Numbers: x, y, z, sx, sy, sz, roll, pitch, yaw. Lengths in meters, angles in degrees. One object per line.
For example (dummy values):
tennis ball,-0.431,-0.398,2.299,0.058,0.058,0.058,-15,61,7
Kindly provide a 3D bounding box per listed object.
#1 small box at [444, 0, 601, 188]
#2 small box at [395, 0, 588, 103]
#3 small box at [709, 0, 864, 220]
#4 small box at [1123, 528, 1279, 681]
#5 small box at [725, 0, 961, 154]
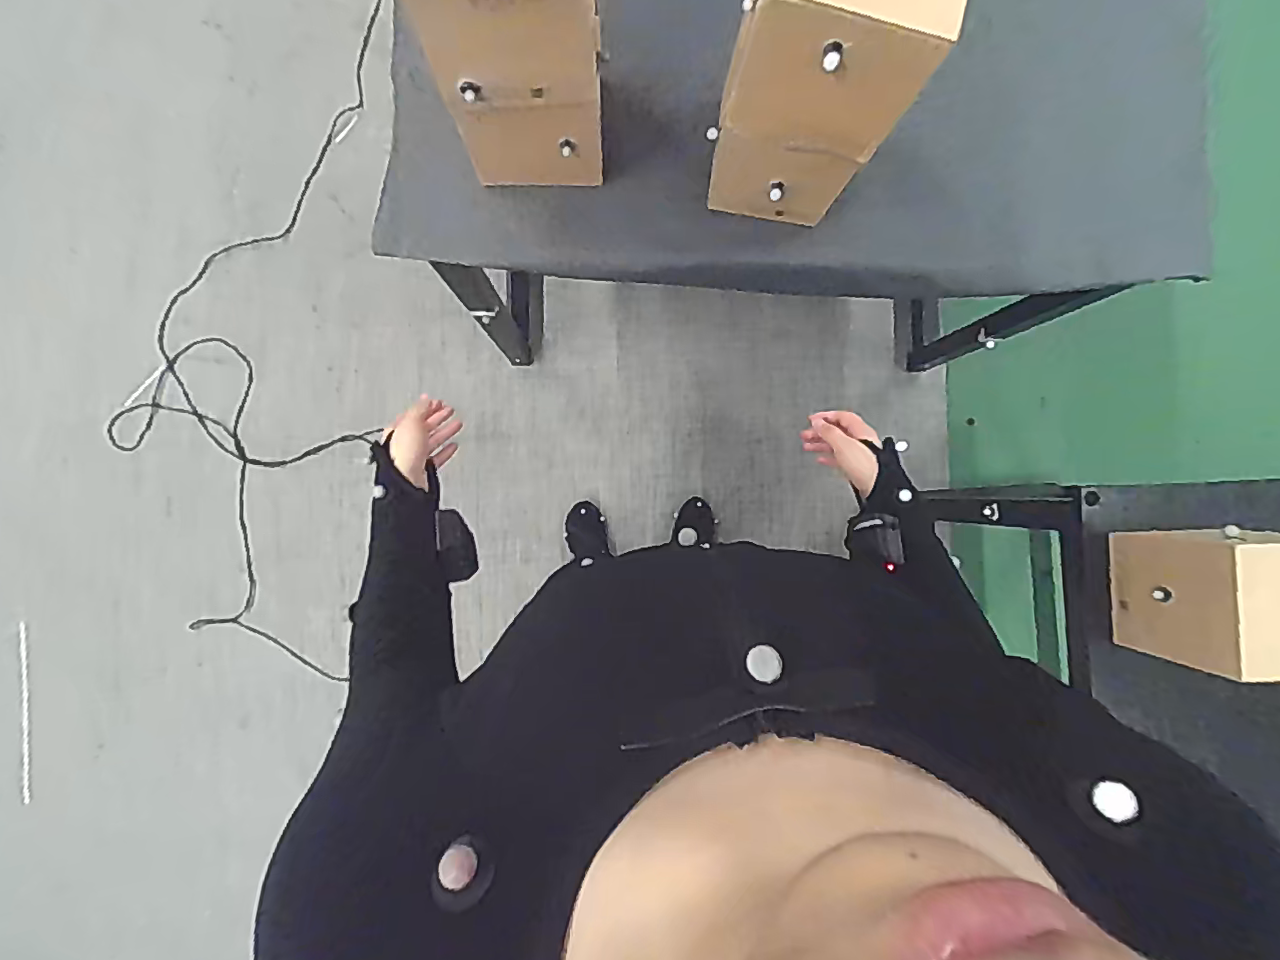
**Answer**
small box,-0.140,-0.503,0.699,0.179,0.176,0.168,-2,87,-1
small box,-0.144,-0.509,0.534,0.168,0.176,0.179,-6,86,-3
small box,0.190,-0.471,0.708,0.168,0.176,0.179,8,88,-2
small box,0.786,0.153,0.711,0.179,0.176,0.168,-2,90,-2
small box,0.199,-0.469,0.545,0.179,0.176,0.168,13,87,-1
